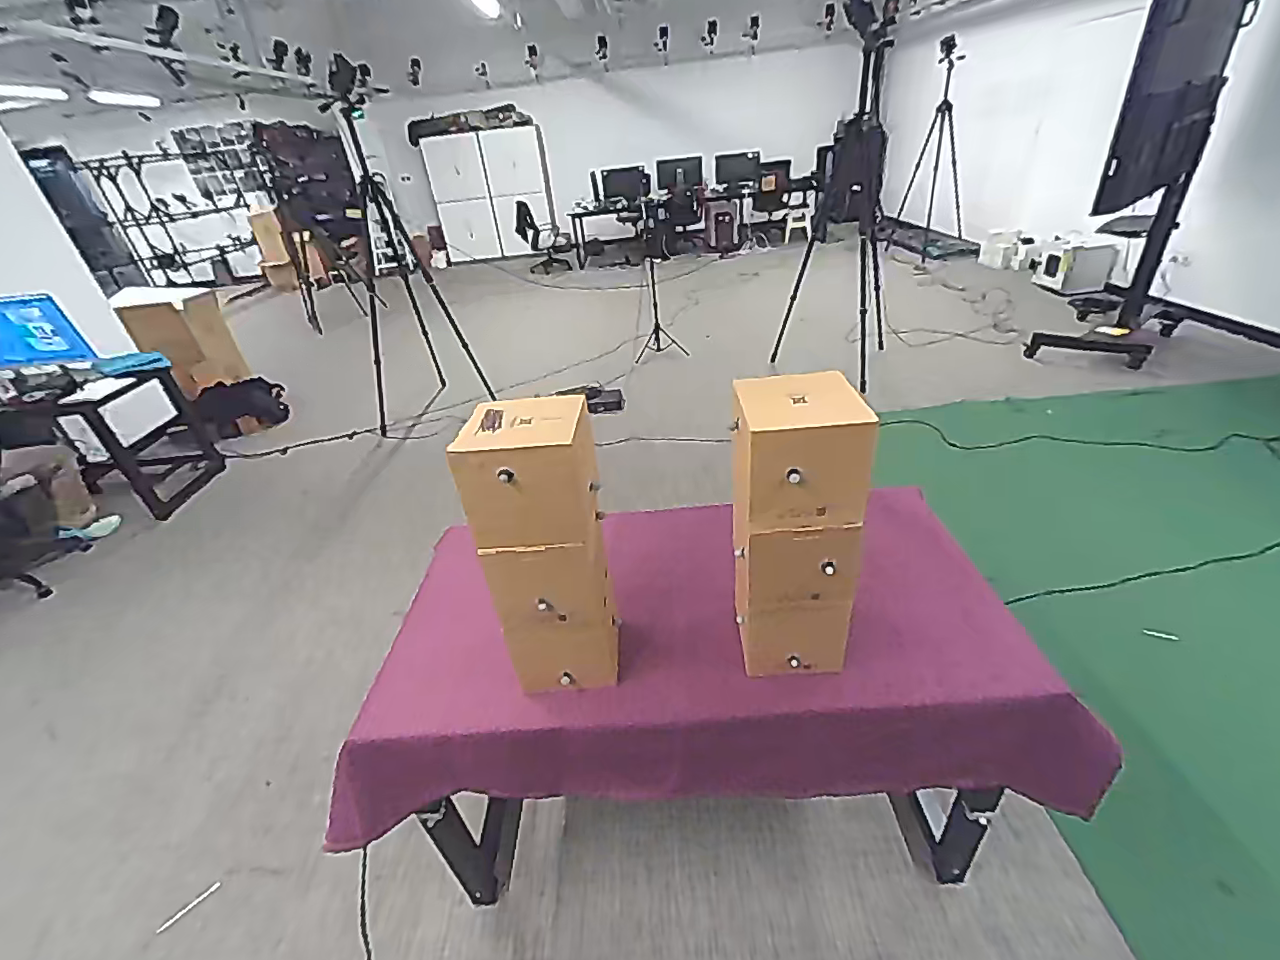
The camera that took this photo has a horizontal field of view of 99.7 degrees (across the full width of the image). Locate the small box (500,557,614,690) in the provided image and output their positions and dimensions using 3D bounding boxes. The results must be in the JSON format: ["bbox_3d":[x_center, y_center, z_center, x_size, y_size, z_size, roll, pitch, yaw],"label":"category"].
[{"bbox_3d":[-0.141,0.264,0.999,0.179,0.176,0.168,-5,32,1],"label":"small box"}]

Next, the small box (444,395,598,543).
[{"bbox_3d":[-0.168,-0.016,0.827,0.179,0.176,0.168,-3,32,4],"label":"small box"}]

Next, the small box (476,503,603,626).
[{"bbox_3d":[-0.157,0.123,0.915,0.168,0.176,0.179,-5,33,3],"label":"small box"}]

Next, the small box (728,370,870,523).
[{"bbox_3d":[0.225,-0.047,0.807,0.168,0.176,0.179,-5,32,3],"label":"small box"}]

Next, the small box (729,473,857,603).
[{"bbox_3d":[0.243,0.089,0.894,0.168,0.176,0.179,-5,32,3],"label":"small box"}]
